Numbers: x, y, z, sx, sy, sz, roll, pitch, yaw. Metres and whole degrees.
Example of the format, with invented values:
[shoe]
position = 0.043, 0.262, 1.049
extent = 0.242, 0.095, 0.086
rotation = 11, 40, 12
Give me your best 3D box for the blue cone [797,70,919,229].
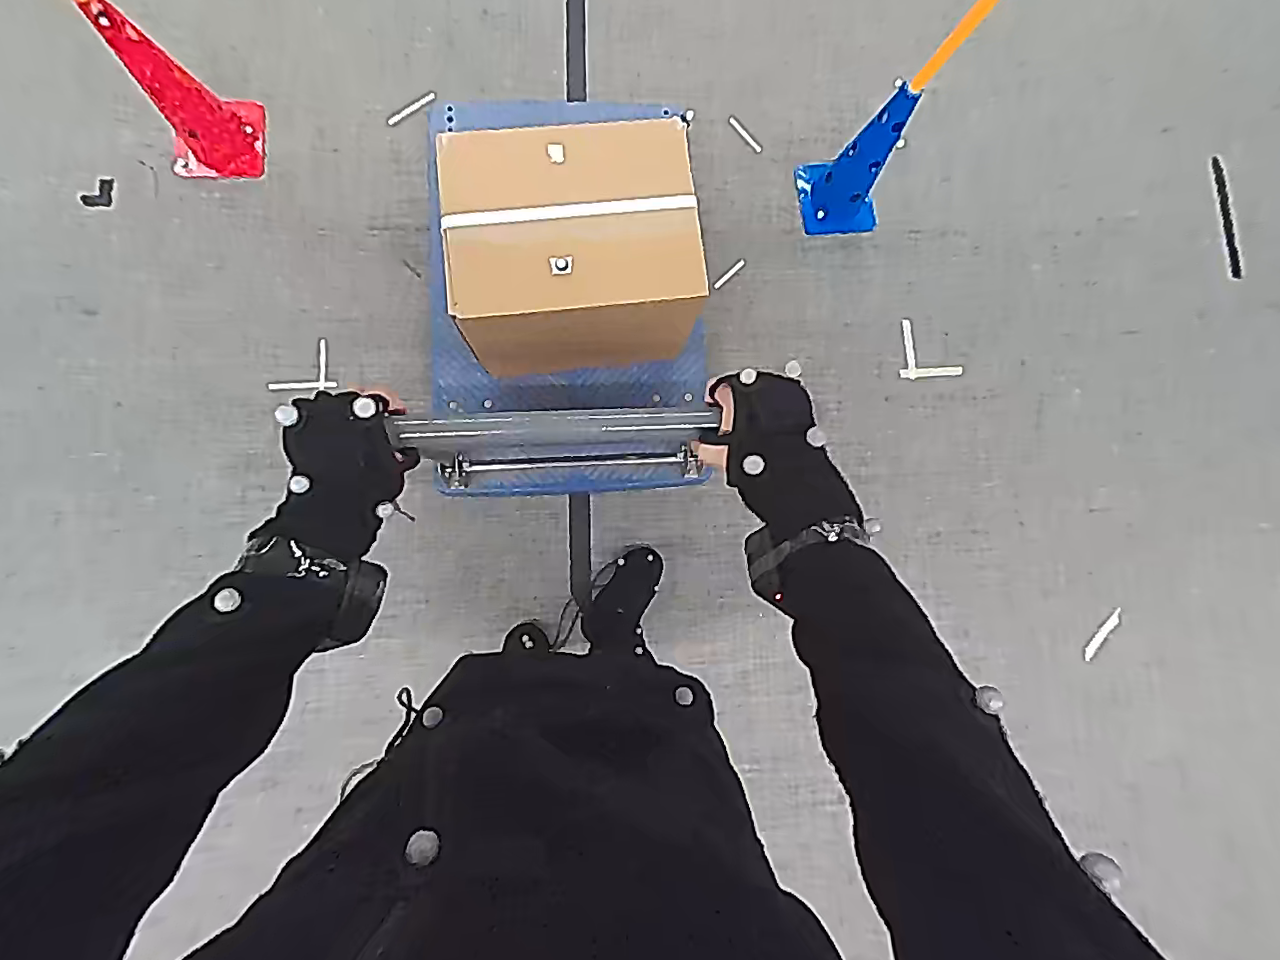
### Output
[blue cone]
position = 0.534, -0.776, 1.270
extent = 0.193, 0.380, 0.192
rotation = -6, 83, -6
